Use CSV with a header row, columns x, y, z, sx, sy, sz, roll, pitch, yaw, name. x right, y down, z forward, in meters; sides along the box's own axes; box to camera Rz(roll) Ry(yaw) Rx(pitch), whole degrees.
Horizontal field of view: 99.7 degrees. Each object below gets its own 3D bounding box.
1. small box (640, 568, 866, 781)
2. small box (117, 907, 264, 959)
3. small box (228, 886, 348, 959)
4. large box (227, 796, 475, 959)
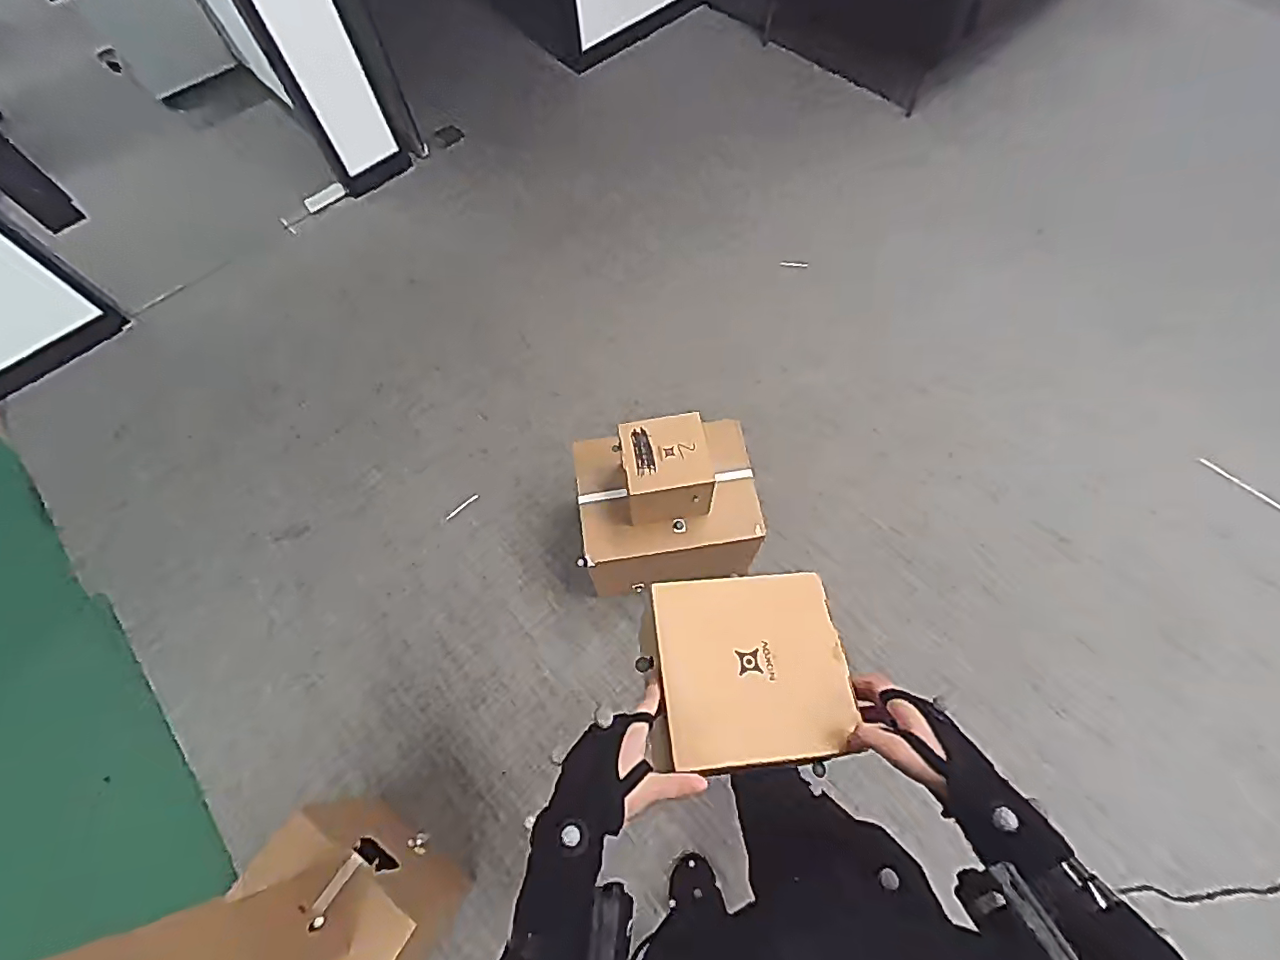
x,y,z,sx,sy,sz,roll,pitch,yaw,name
0.095,0.206,0.562,0.179,0.176,0.168,-3,58,-8,small box
-0.593,0.684,0.670,0.179,0.176,0.168,36,70,17,small box
-0.589,0.766,0.812,0.168,0.176,0.179,34,70,16,small box
-0.592,0.895,1.022,0.320,0.320,0.408,30,70,17,large box
